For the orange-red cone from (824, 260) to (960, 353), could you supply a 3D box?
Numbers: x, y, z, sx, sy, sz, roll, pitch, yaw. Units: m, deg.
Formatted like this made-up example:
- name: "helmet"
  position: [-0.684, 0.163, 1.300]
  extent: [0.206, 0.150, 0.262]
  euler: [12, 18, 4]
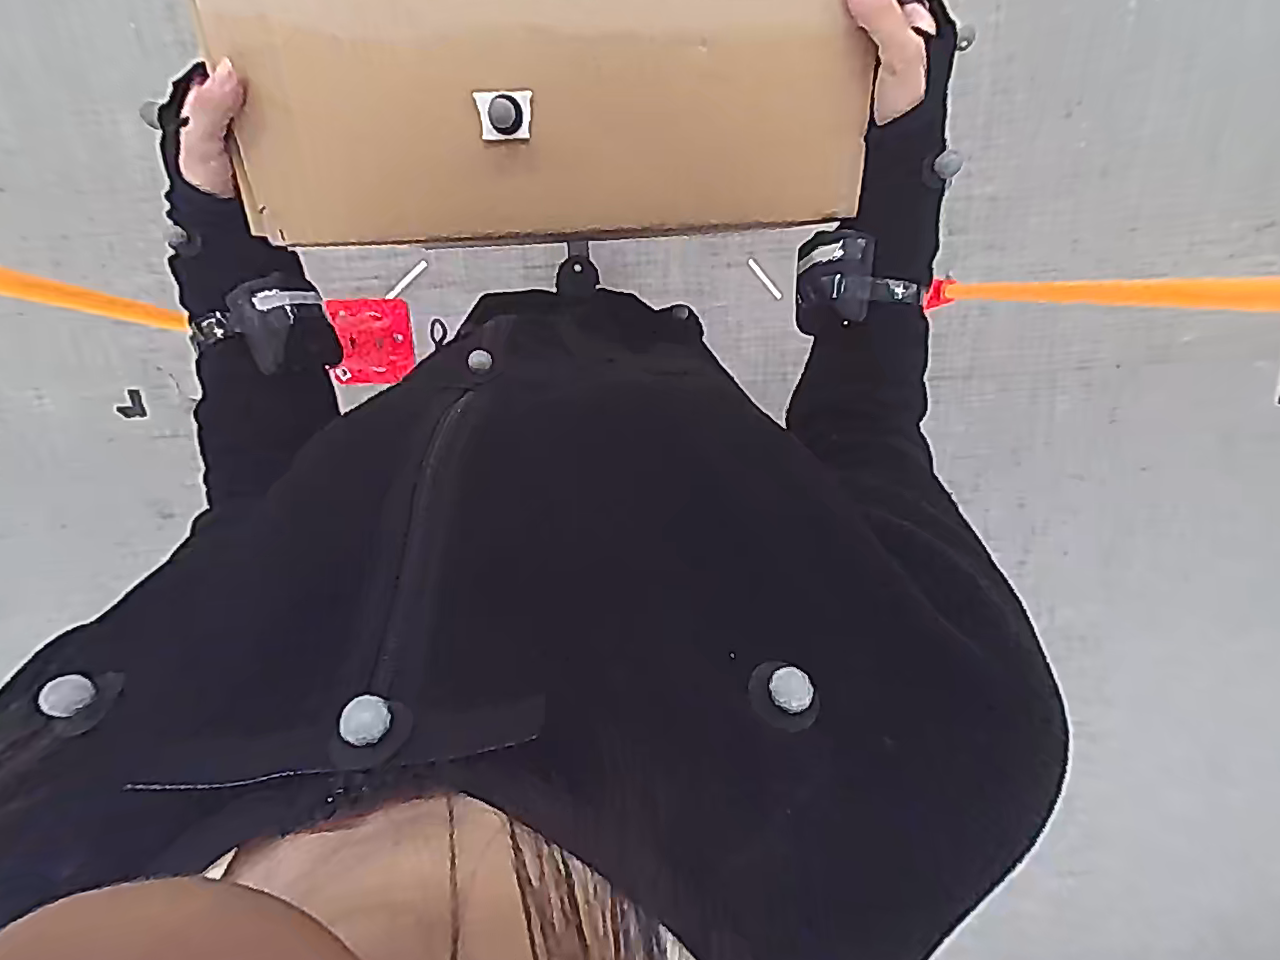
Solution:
- name: "orange-red cone"
  position: [0.562, -0.376, 1.159]
  extent: [0.199, 0.360, 0.198]
  euler: [-12, 106, 0]
